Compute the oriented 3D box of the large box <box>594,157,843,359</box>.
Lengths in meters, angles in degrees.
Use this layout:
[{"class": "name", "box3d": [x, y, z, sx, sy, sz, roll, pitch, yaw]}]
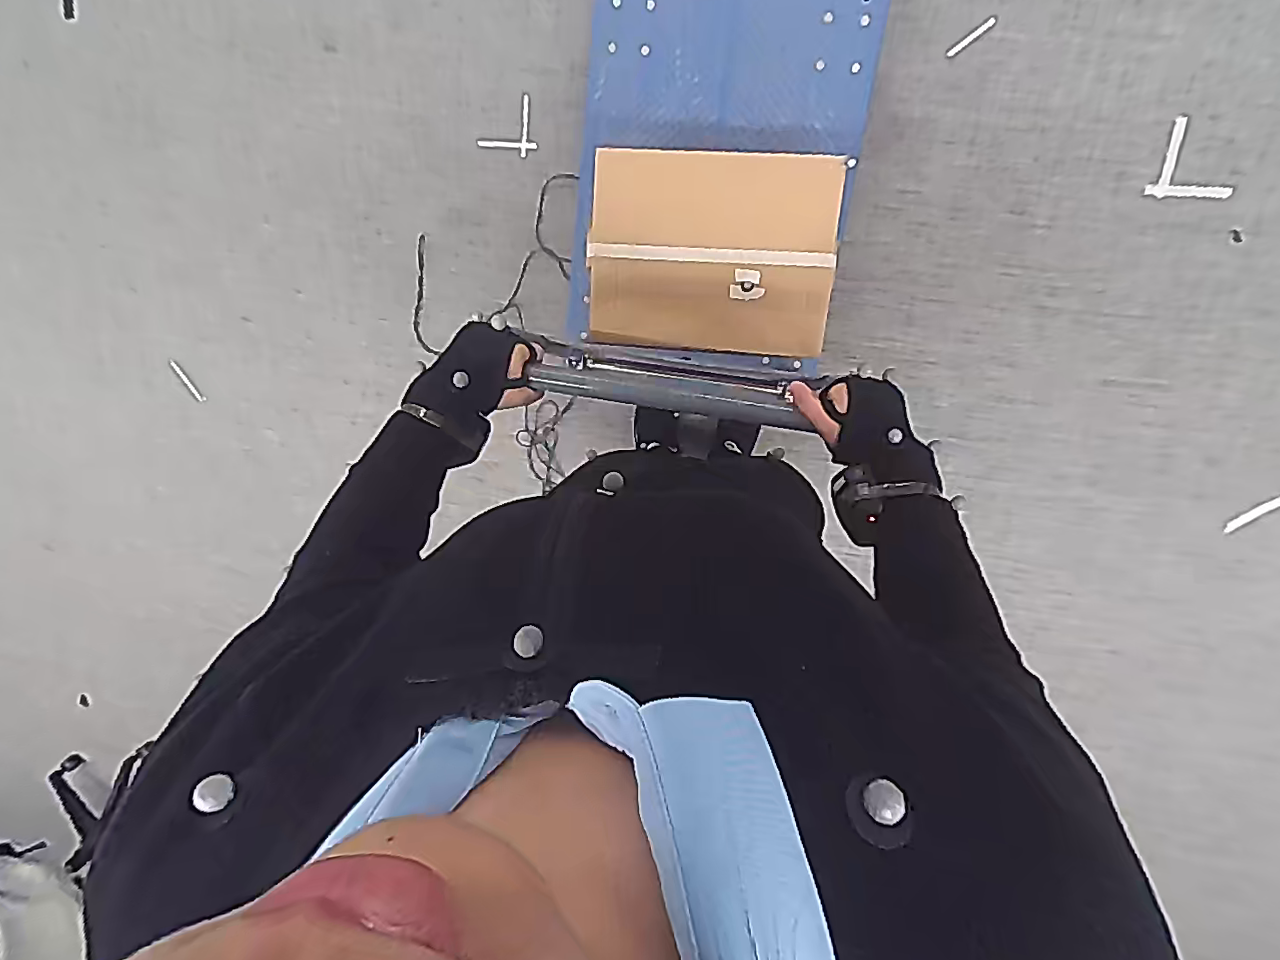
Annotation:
[{"class": "large box", "box3d": [0.134, -0.404, 1.057, 0.408, 0.320, 0.320, 5, 104, 5]}]
